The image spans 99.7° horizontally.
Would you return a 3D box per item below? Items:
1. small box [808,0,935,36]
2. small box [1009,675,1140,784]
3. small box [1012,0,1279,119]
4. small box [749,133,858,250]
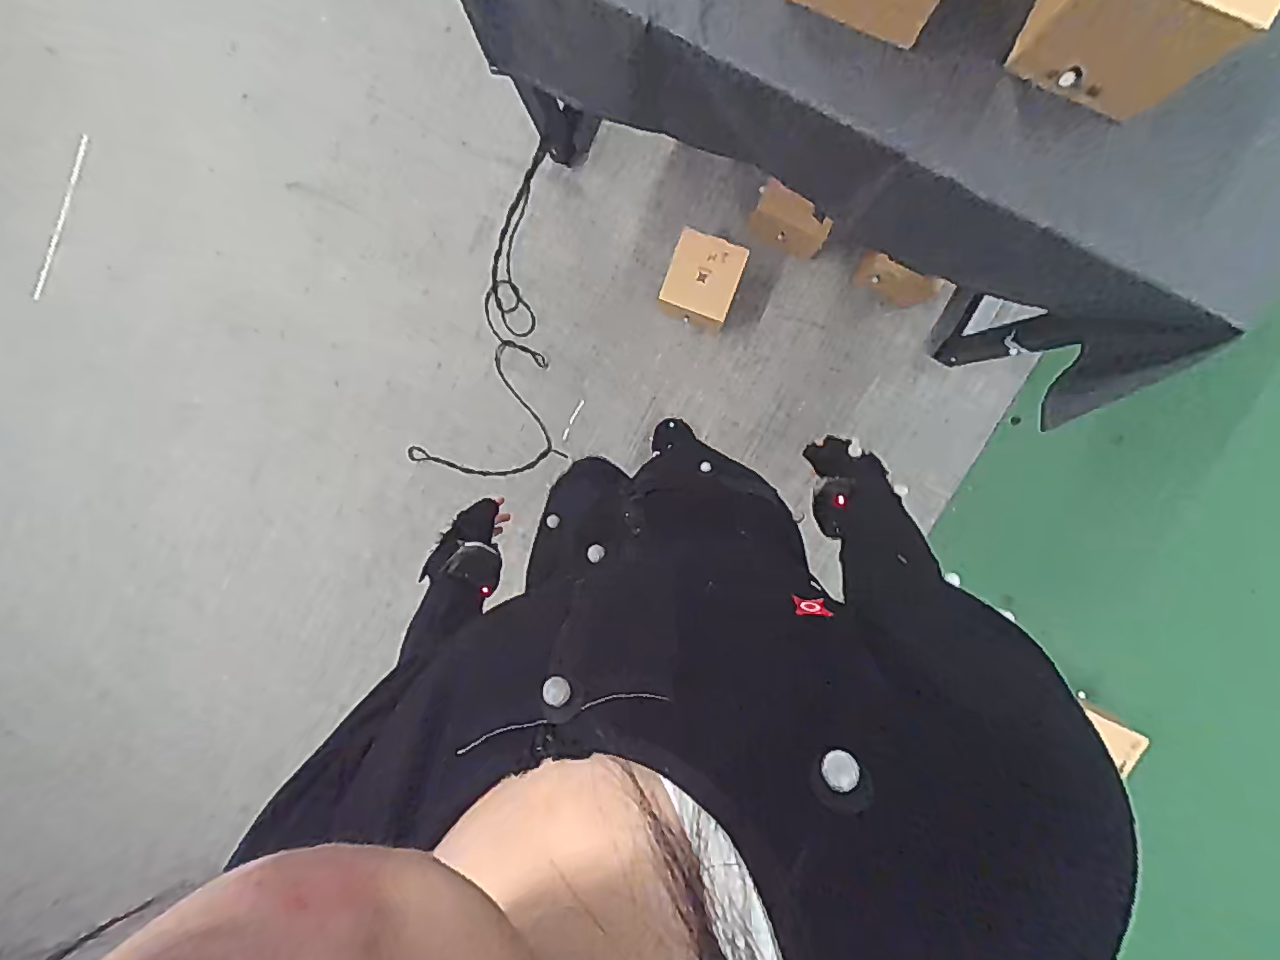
[{"bbox_3d":[0.274,-0.625,0.568,0.179,0.176,0.168,23,98,0],"label":"small box"},{"bbox_3d":[1.129,0.644,1.424,0.179,0.176,0.168,27,99,1],"label":"small box"},{"bbox_3d":[0.541,-0.532,0.563,0.168,0.176,0.179,25,99,1],"label":"small box"},{"bbox_3d":[0.379,-0.672,1.287,0.179,0.176,0.168,26,98,1],"label":"small box"}]
